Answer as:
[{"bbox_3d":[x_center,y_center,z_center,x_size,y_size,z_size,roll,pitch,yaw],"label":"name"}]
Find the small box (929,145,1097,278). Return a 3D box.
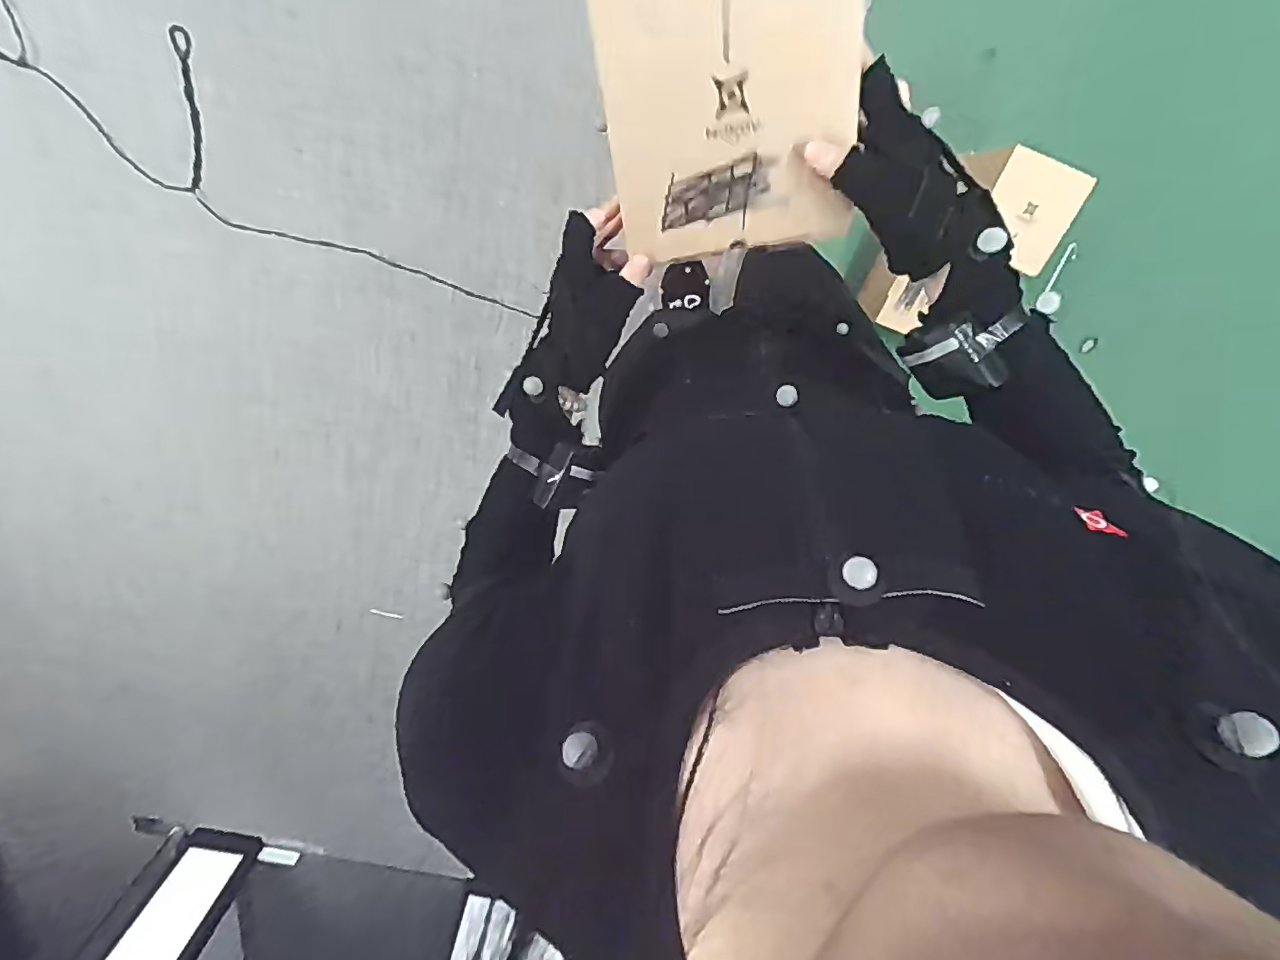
[{"bbox_3d":[0.697,-0.510,1.039,0.168,0.176,0.179,19,115,-6],"label":"small box"}]
